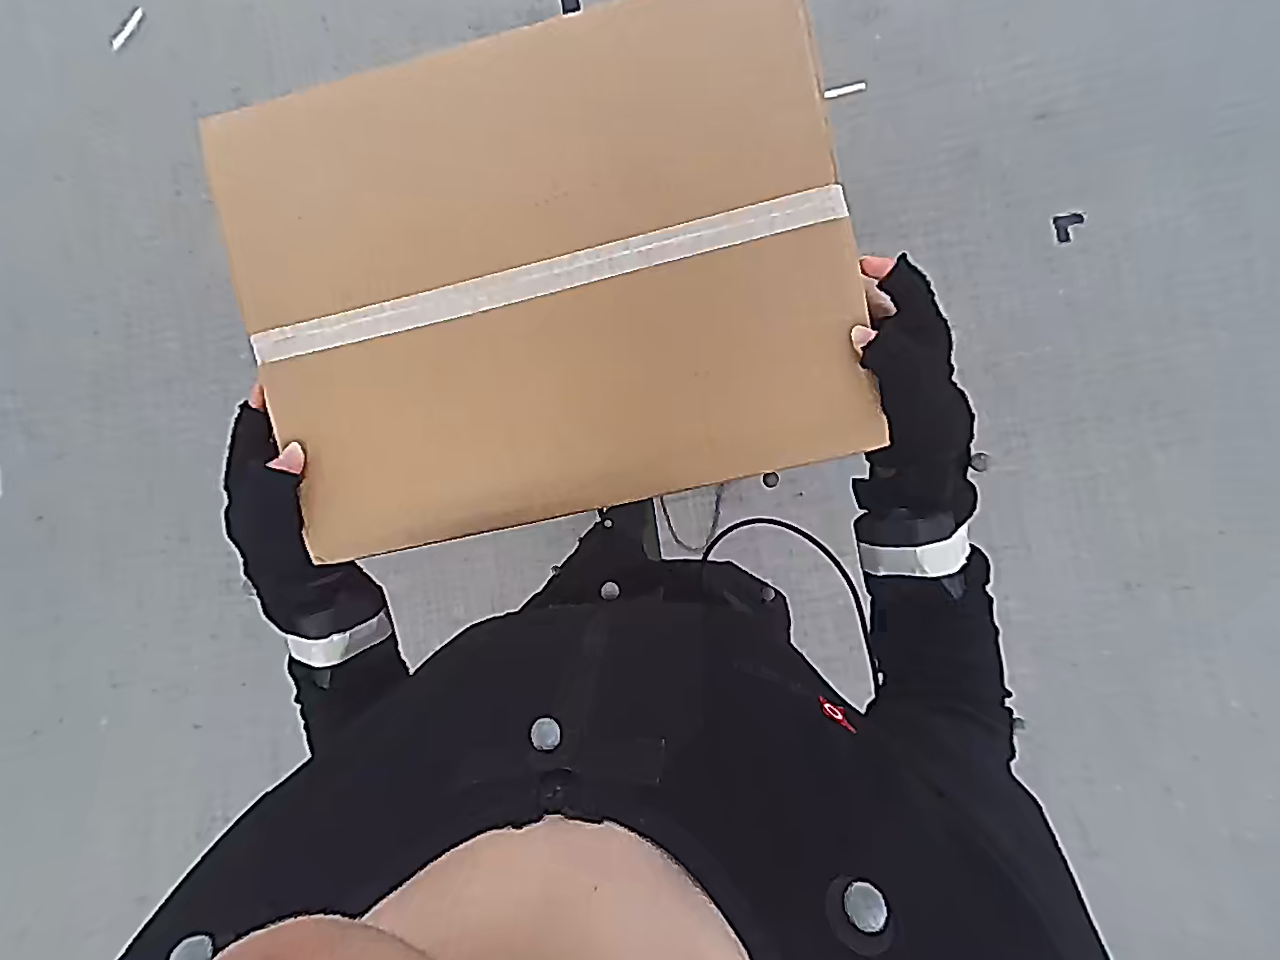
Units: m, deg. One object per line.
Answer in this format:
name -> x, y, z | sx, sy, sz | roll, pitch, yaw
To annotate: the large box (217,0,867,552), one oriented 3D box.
large box -> -0.059, -0.152, 0.517 | 0.408, 0.320, 0.320 | -12, 93, 5
